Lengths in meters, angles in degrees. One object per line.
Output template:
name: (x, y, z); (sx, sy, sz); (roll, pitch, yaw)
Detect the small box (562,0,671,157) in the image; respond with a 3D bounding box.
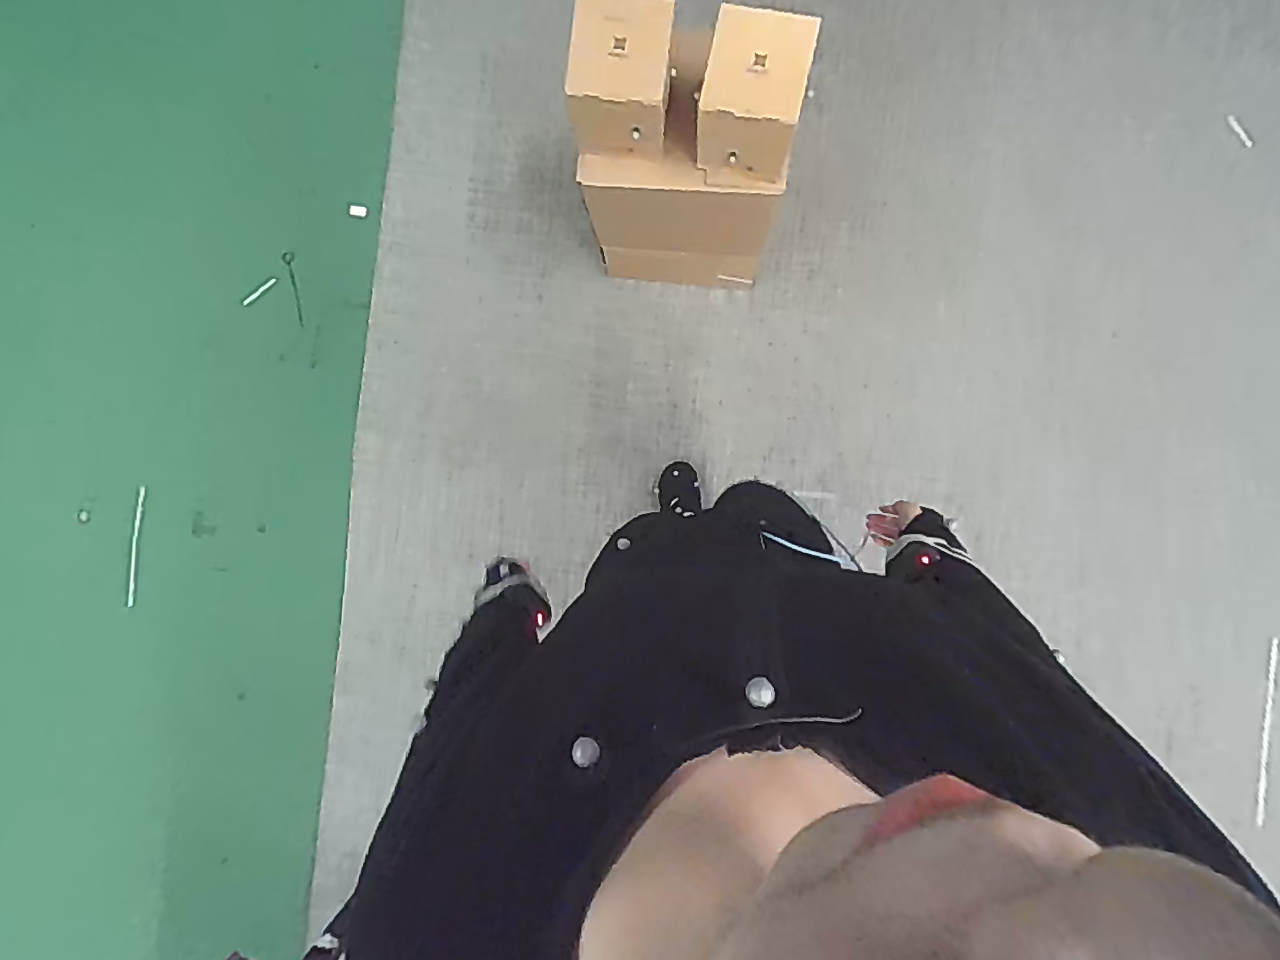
small box: (-0.036, -0.715, 0.970); (0.168, 0.176, 0.179); (7, 91, 2)

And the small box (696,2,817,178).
small box: (0.195, -0.675, 0.953); (0.168, 0.176, 0.179); (12, 91, 5)
